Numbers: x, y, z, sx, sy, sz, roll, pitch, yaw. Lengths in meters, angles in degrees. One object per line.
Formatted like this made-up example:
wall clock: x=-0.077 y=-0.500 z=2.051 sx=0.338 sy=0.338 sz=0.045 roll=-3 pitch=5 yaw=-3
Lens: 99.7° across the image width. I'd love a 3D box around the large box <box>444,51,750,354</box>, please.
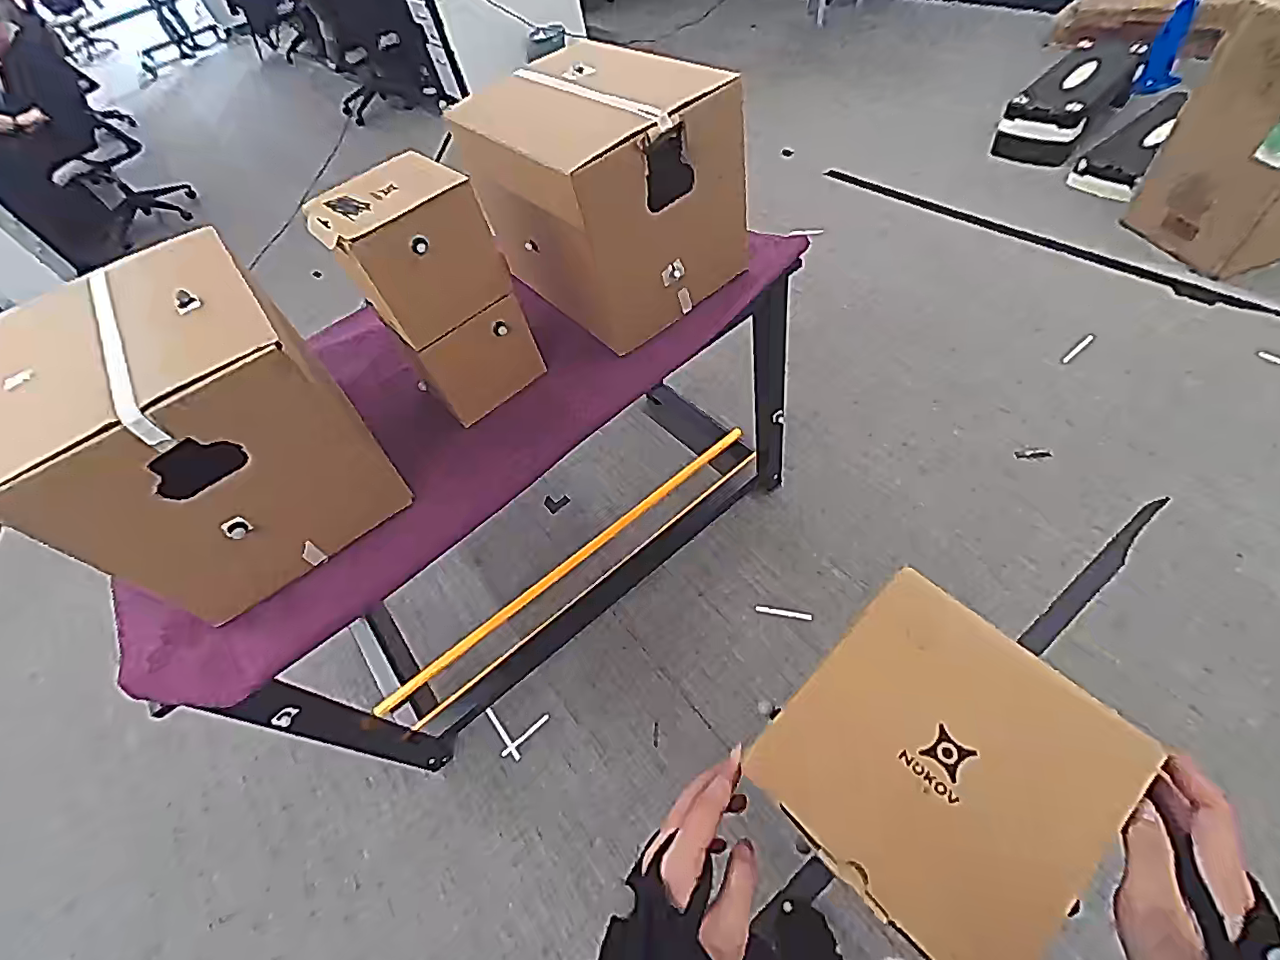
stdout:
large box: x=-0.060 y=-0.489 z=0.947 sx=0.320 sy=0.320 sz=0.408 roll=-37 pitch=54 yaw=-15
